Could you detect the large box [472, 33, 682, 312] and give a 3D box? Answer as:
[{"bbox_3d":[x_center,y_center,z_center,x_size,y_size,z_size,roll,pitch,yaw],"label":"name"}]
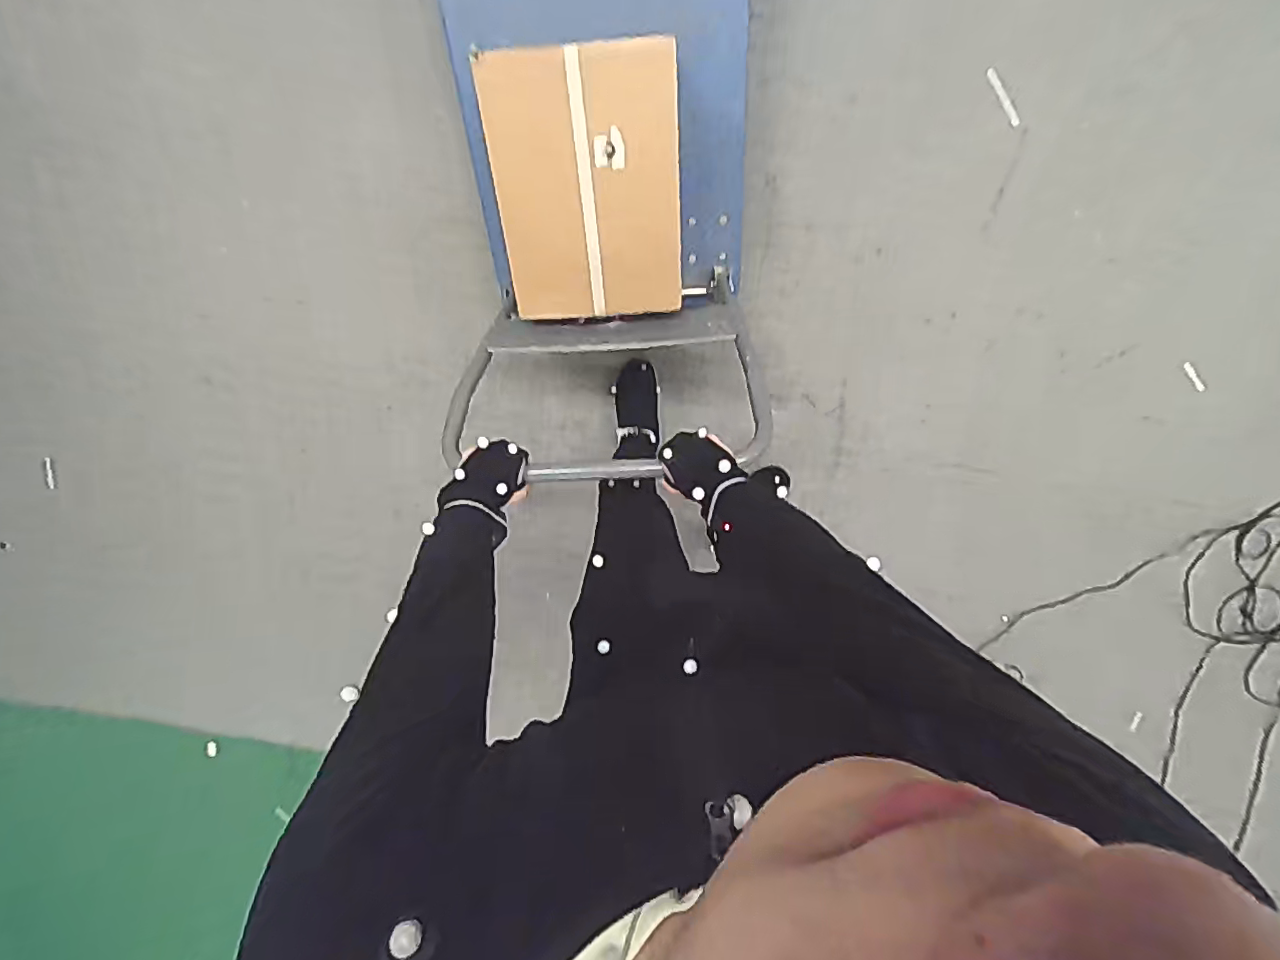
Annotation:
[{"bbox_3d":[-0.085,-0.578,1.049,0.320,0.320,0.408,-2,124,3],"label":"large box"}]
